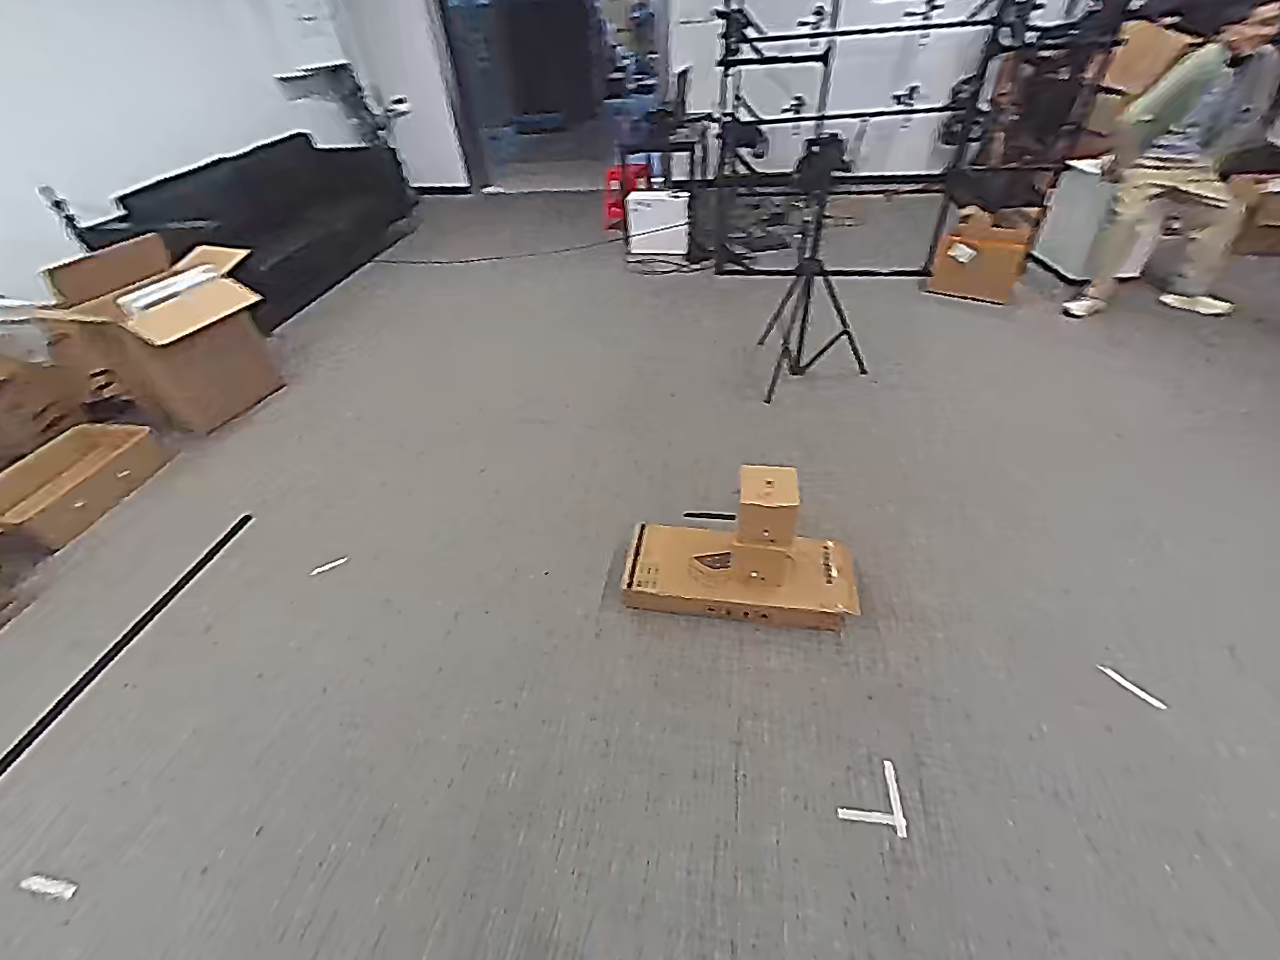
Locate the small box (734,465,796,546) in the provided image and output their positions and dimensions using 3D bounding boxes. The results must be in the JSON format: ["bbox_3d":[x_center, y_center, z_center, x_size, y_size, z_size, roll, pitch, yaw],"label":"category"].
[{"bbox_3d":[0.376,0.076,1.647,0.168,0.176,0.179,3,41,9],"label":"small box"}]

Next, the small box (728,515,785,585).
[{"bbox_3d":[0.376,0.210,1.745,0.168,0.176,0.179,6,43,12],"label":"small box"}]
